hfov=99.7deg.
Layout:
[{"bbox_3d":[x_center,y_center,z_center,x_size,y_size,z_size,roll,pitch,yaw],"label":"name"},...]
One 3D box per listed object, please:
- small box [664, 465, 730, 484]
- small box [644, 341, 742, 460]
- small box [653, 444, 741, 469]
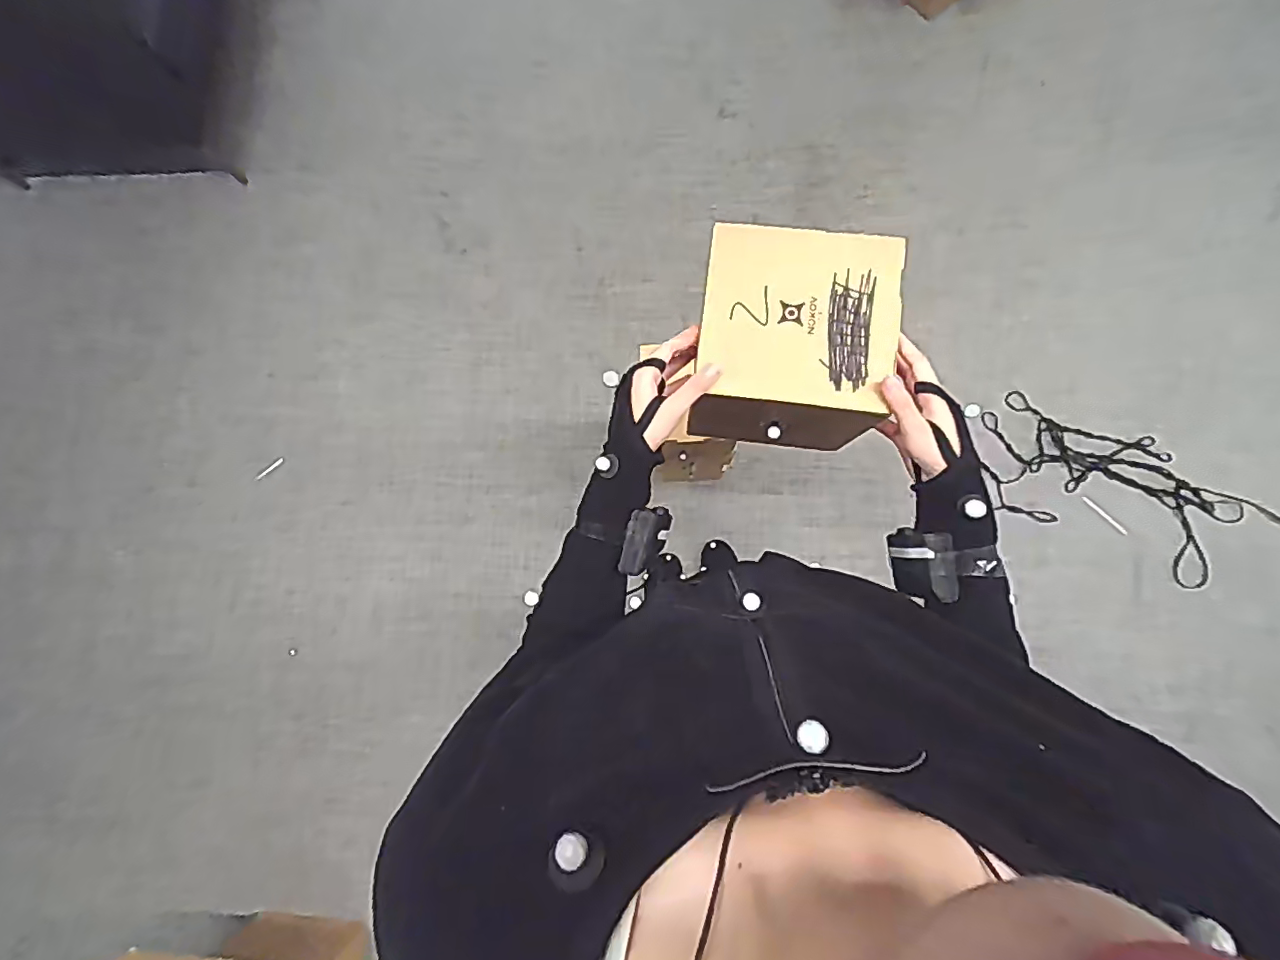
[{"bbox_3d":[0.153,-0.082,1.479,0.179,0.176,0.168,0,81,5],"label":"small box"},{"bbox_3d":[0.095,-0.138,0.994,0.168,0.176,0.179,-2,83,6],"label":"small box"},{"bbox_3d":[0.117,-0.117,1.155,0.179,0.176,0.168,-2,81,5],"label":"small box"}]
